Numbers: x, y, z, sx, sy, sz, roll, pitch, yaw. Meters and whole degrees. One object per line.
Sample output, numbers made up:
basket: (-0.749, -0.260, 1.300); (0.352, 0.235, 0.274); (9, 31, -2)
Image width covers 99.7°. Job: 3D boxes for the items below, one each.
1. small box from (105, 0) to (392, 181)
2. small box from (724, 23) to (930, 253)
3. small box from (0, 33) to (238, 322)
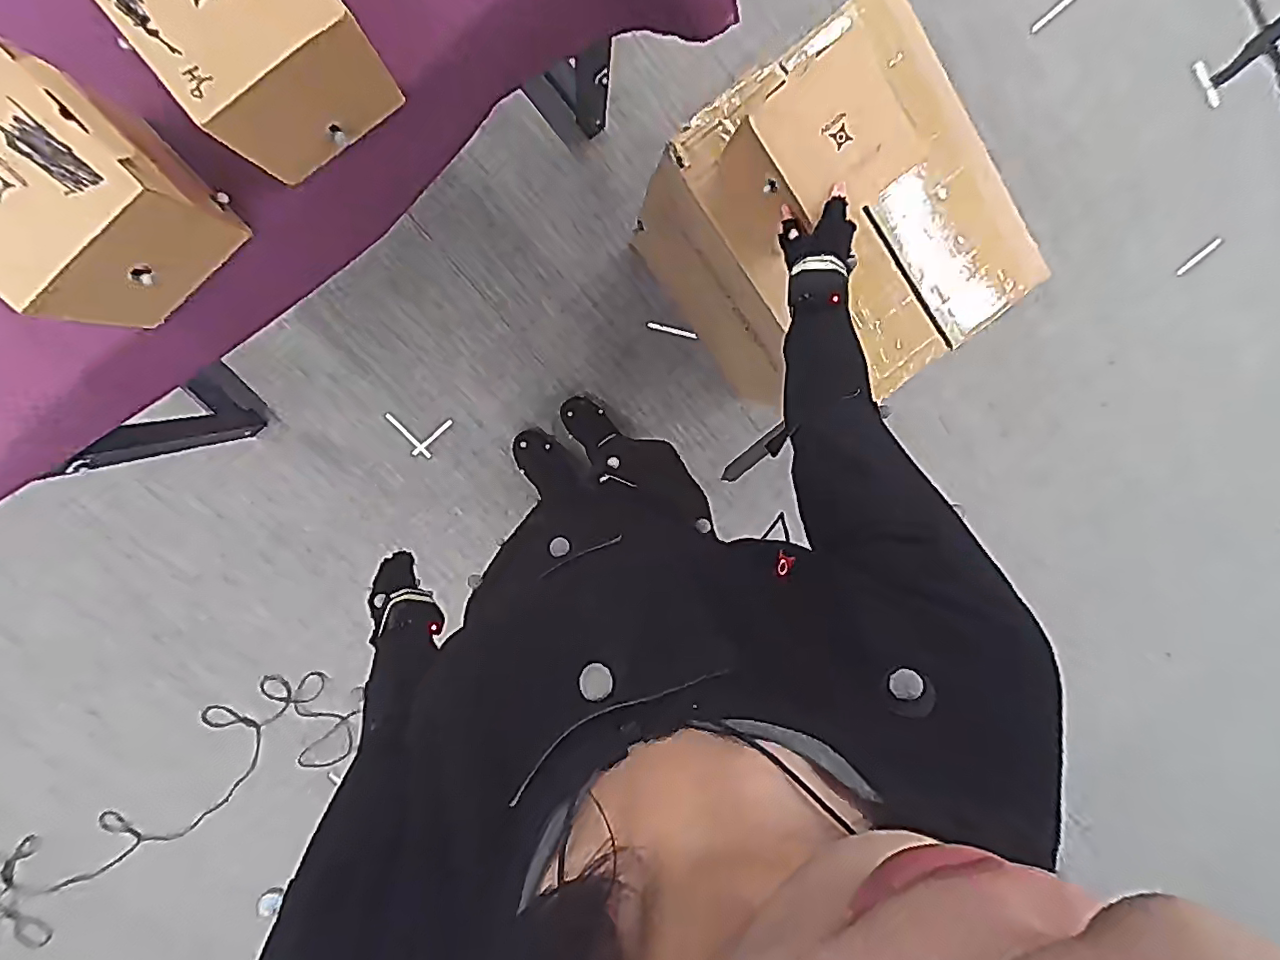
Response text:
small box: (-0.385, -0.454, 0.555); (0.179, 0.176, 0.168); (-36, 101, 1)
small box: (0.236, -0.438, 0.731); (0.168, 0.176, 0.179); (-38, 104, 5)
small box: (-0.575, -0.289, 0.565); (0.179, 0.176, 0.168); (-41, 101, 4)
